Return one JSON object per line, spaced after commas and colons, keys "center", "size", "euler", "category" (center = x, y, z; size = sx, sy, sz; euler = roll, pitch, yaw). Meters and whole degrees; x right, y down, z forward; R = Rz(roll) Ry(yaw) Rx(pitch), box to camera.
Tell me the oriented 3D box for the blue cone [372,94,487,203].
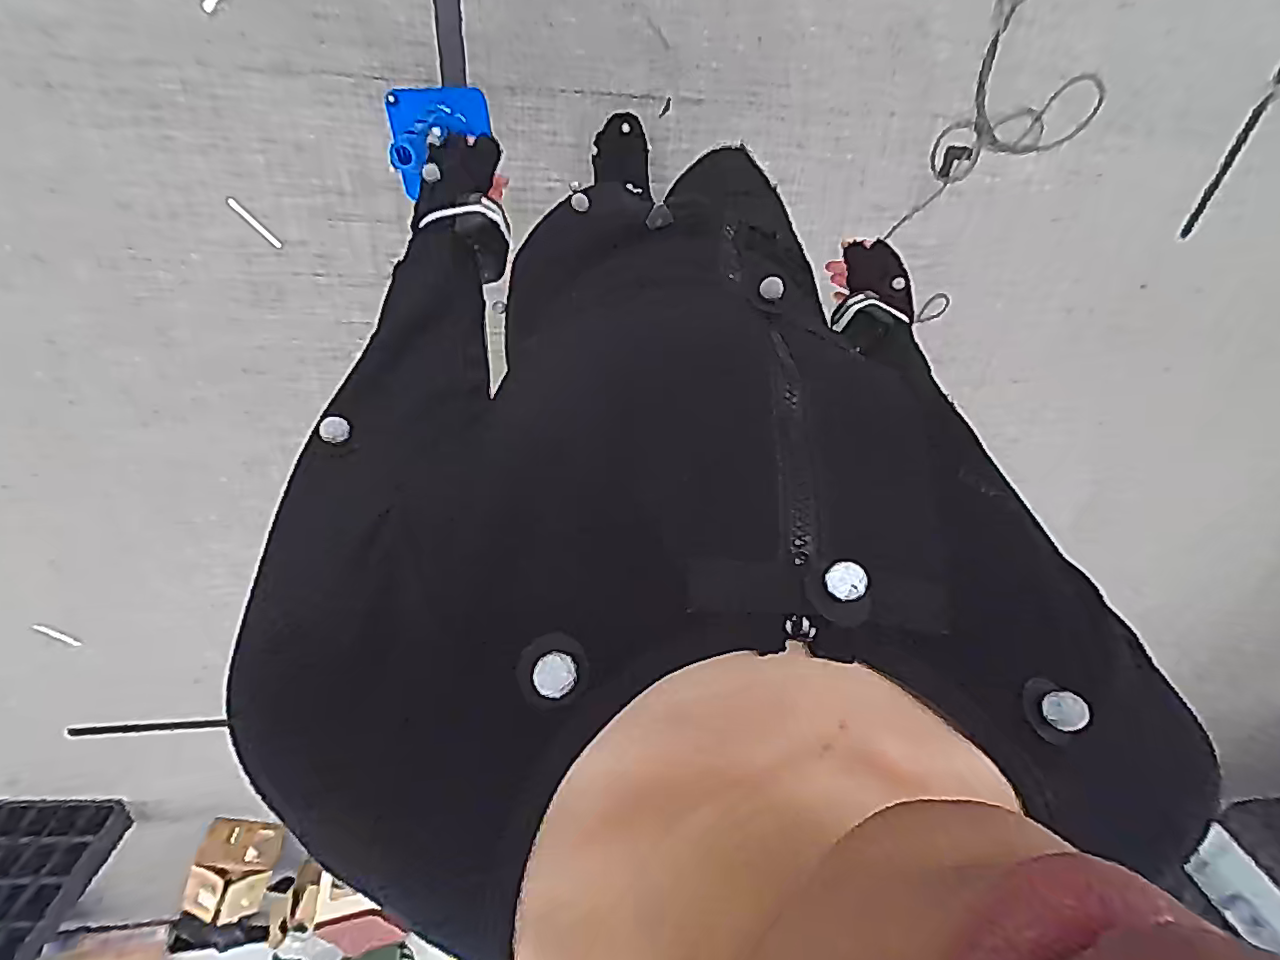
{"center": [-0.408, -0.600, 0.994], "size": [0.192, 0.380, 0.193], "euler": [-3, 123, -5], "category": "blue cone"}
